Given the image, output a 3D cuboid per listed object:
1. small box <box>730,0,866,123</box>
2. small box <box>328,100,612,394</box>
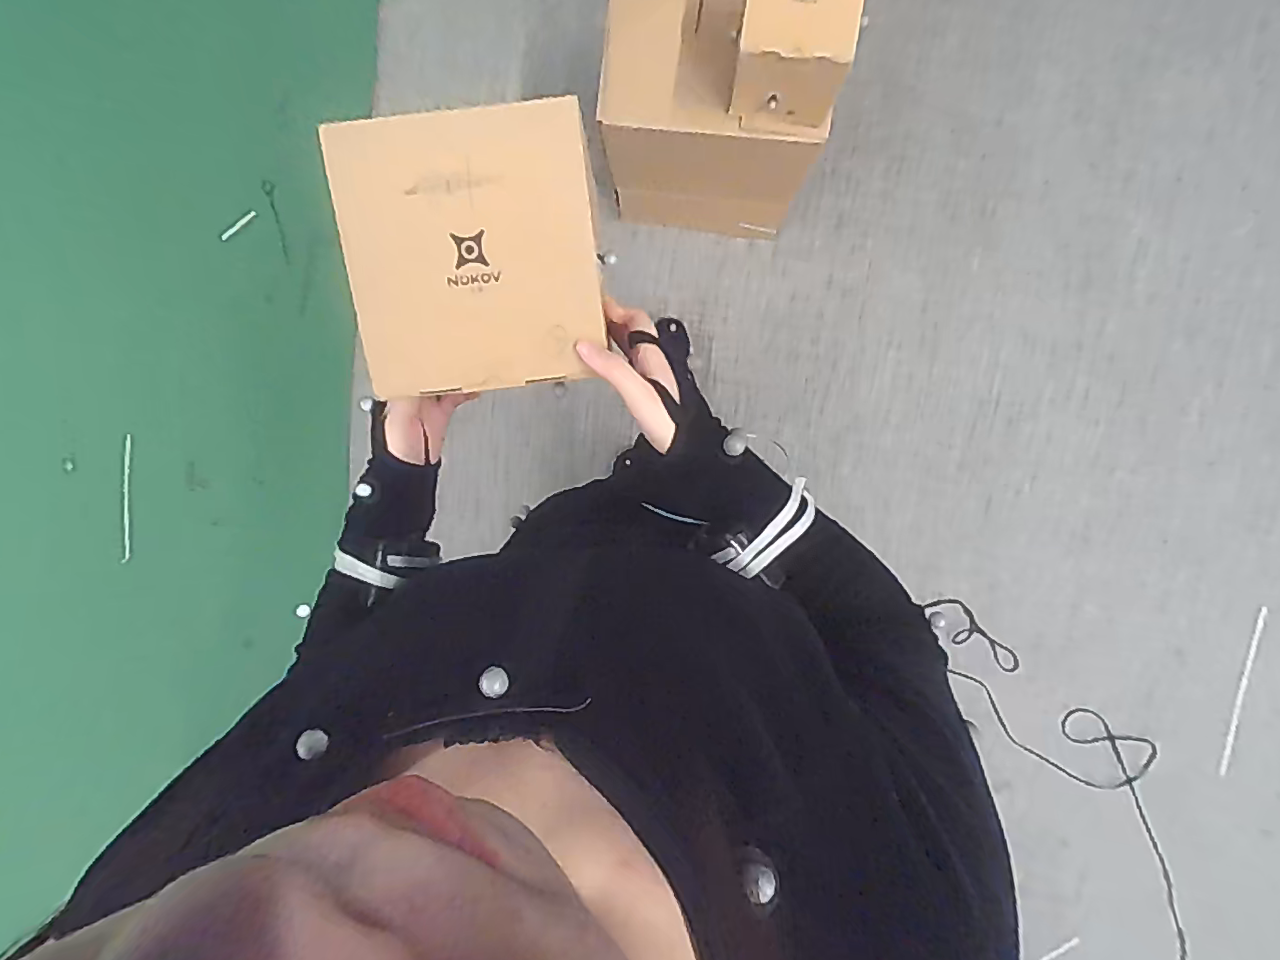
[{"bbox_3d":[0.241,-0.699,0.838,0.168,0.176,0.179,9,98,2],"label":"small box"},{"bbox_3d":[-0.112,-0.170,0.439,0.168,0.176,0.179,-5,103,-1],"label":"small box"}]
